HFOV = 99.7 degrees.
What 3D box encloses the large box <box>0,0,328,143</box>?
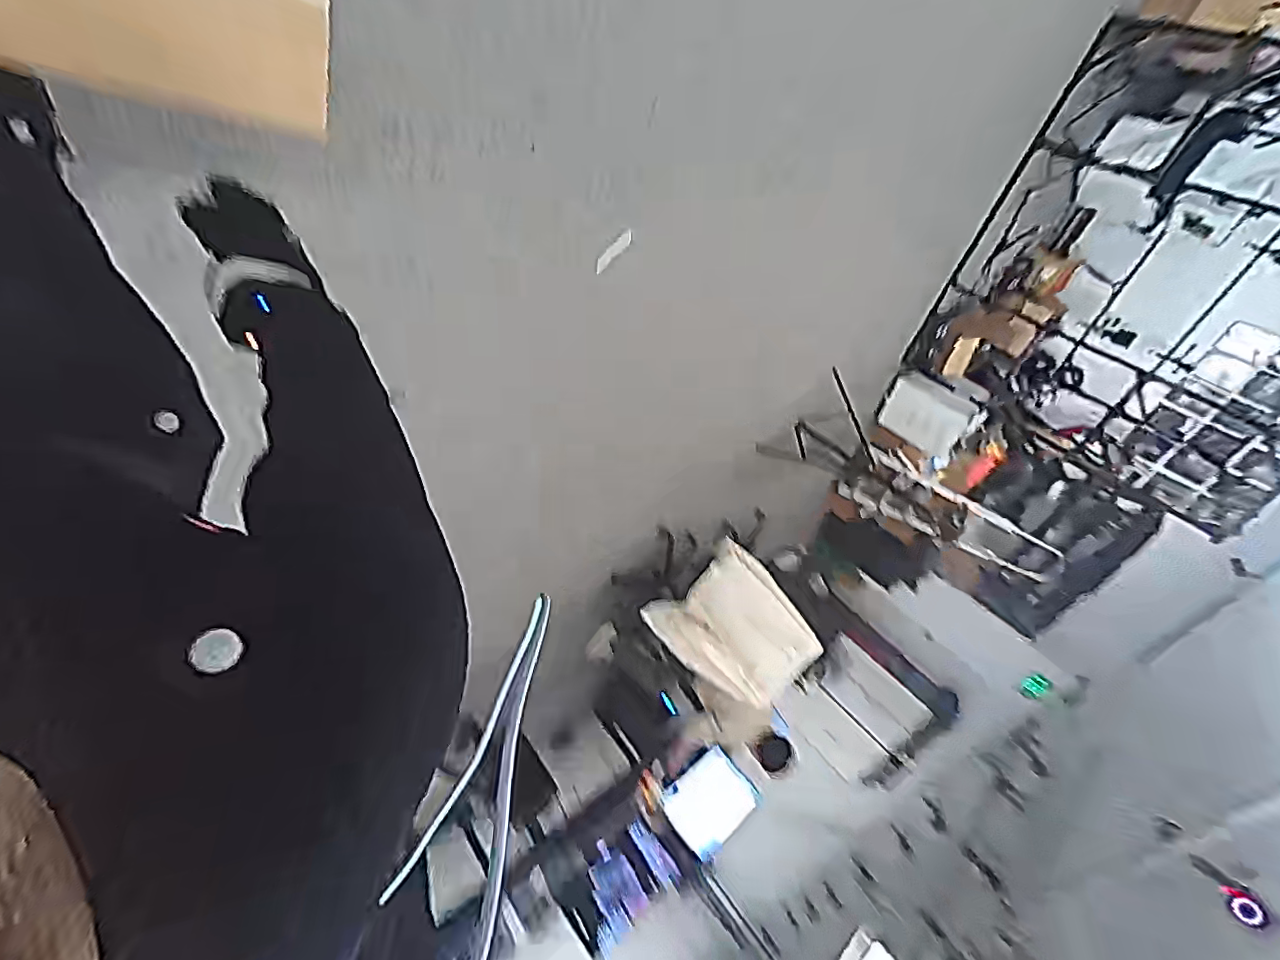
[{"bbox_3d":[-0.632,-0.638,0.618,0.408,0.320,0.320,-15,137,-44],"label":"large box"}]
